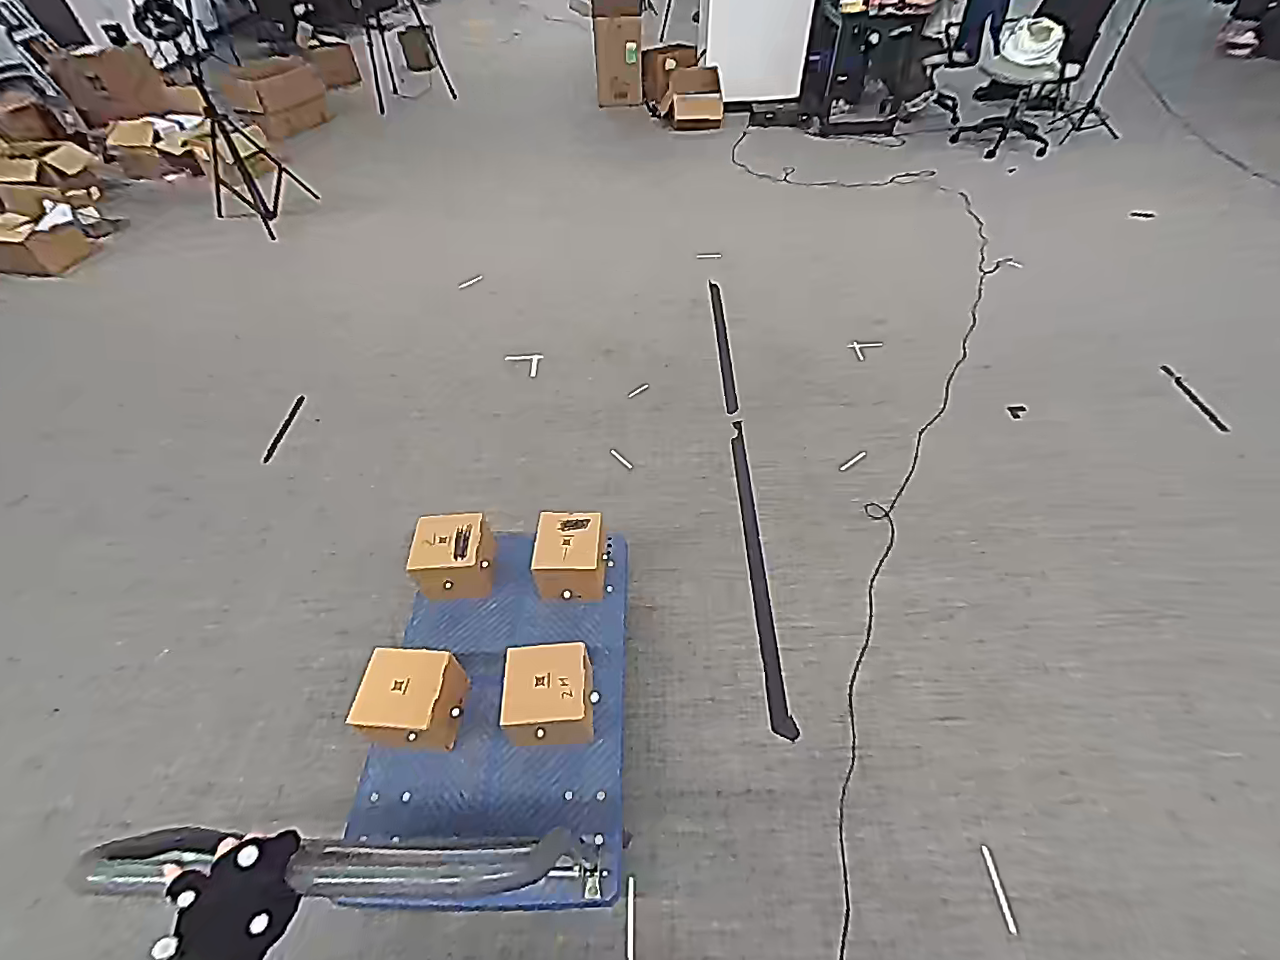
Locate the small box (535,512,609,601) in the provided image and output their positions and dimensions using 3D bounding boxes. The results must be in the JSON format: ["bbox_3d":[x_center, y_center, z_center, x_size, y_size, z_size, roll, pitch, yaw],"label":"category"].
[{"bbox_3d":[-0.174,0.205,1.446,0.168,0.176,0.179,0,51,3],"label":"small box"}]

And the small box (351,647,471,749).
[{"bbox_3d":[-0.503,0.493,1.217,0.179,0.176,0.168,2,49,3],"label":"small box"}]

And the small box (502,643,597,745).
[{"bbox_3d":[-0.194,0.482,1.210,0.179,0.176,0.168,-4,50,0],"label":"small box"}]
